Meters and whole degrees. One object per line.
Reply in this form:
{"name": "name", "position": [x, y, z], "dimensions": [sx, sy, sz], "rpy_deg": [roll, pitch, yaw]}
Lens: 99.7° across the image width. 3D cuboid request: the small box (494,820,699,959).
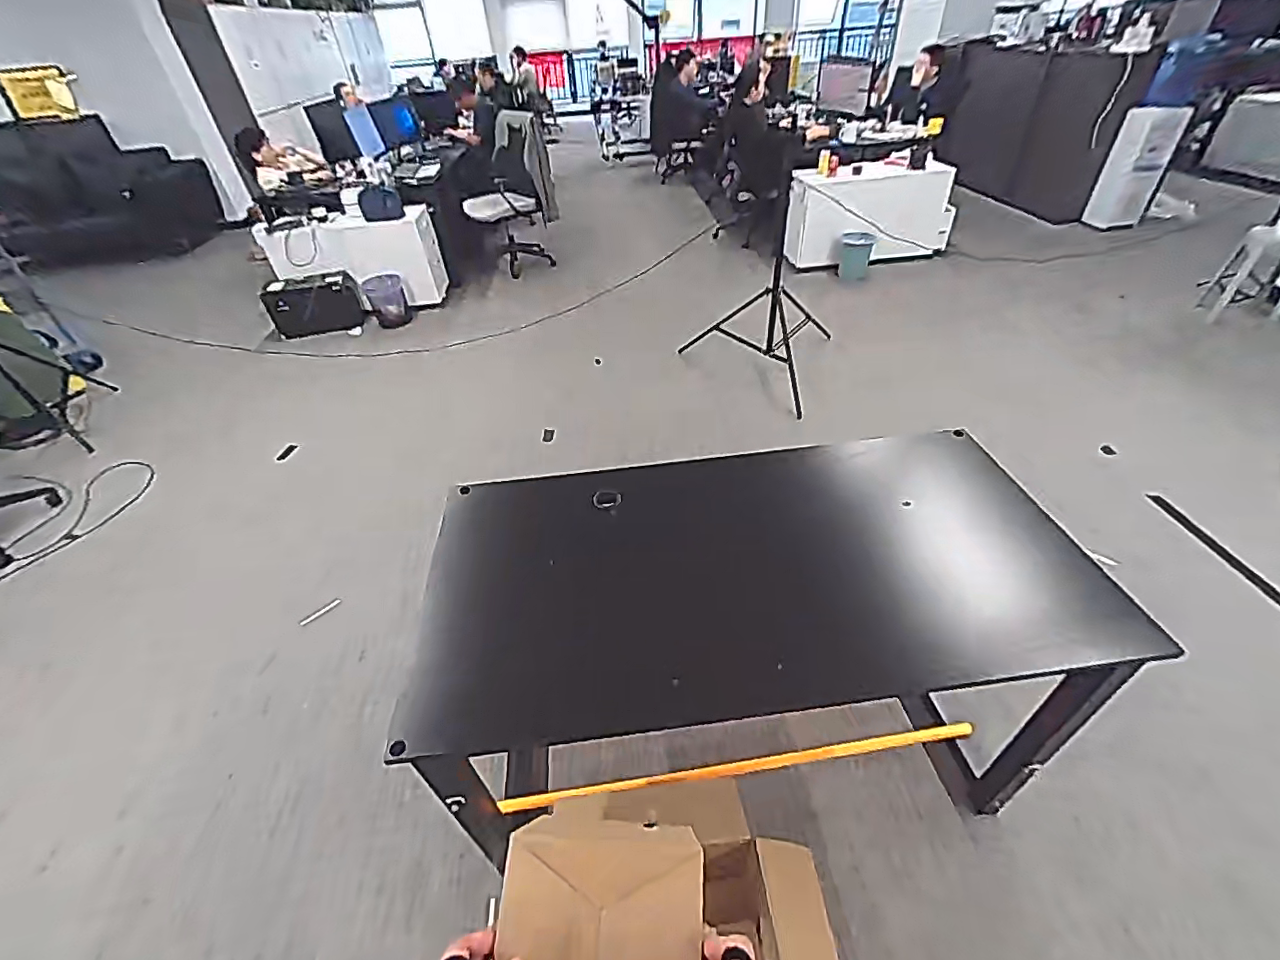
{"name": "small box", "position": [-0.033, 0.435, 0.522], "dimensions": [0.179, 0.176, 0.168], "rpy_deg": [2, 62, 3]}
